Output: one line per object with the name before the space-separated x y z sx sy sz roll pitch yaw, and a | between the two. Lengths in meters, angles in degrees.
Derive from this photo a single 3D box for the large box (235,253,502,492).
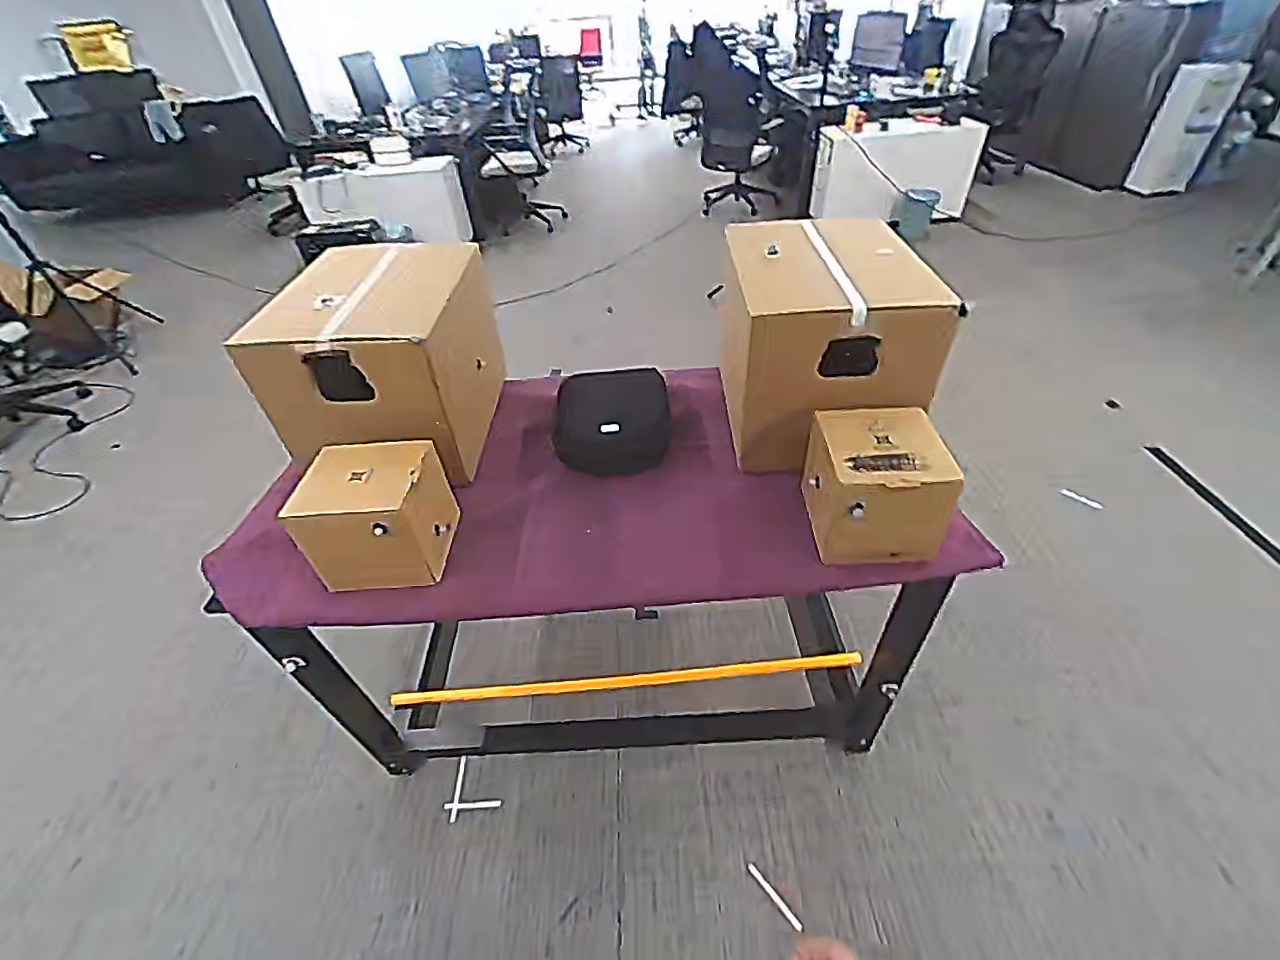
large box | -0.479 -0.218 1.076 0.320 0.320 0.408 -3 44 1

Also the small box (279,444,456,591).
small box | -0.418 0.063 0.865 0.179 0.176 0.168 -4 41 0
